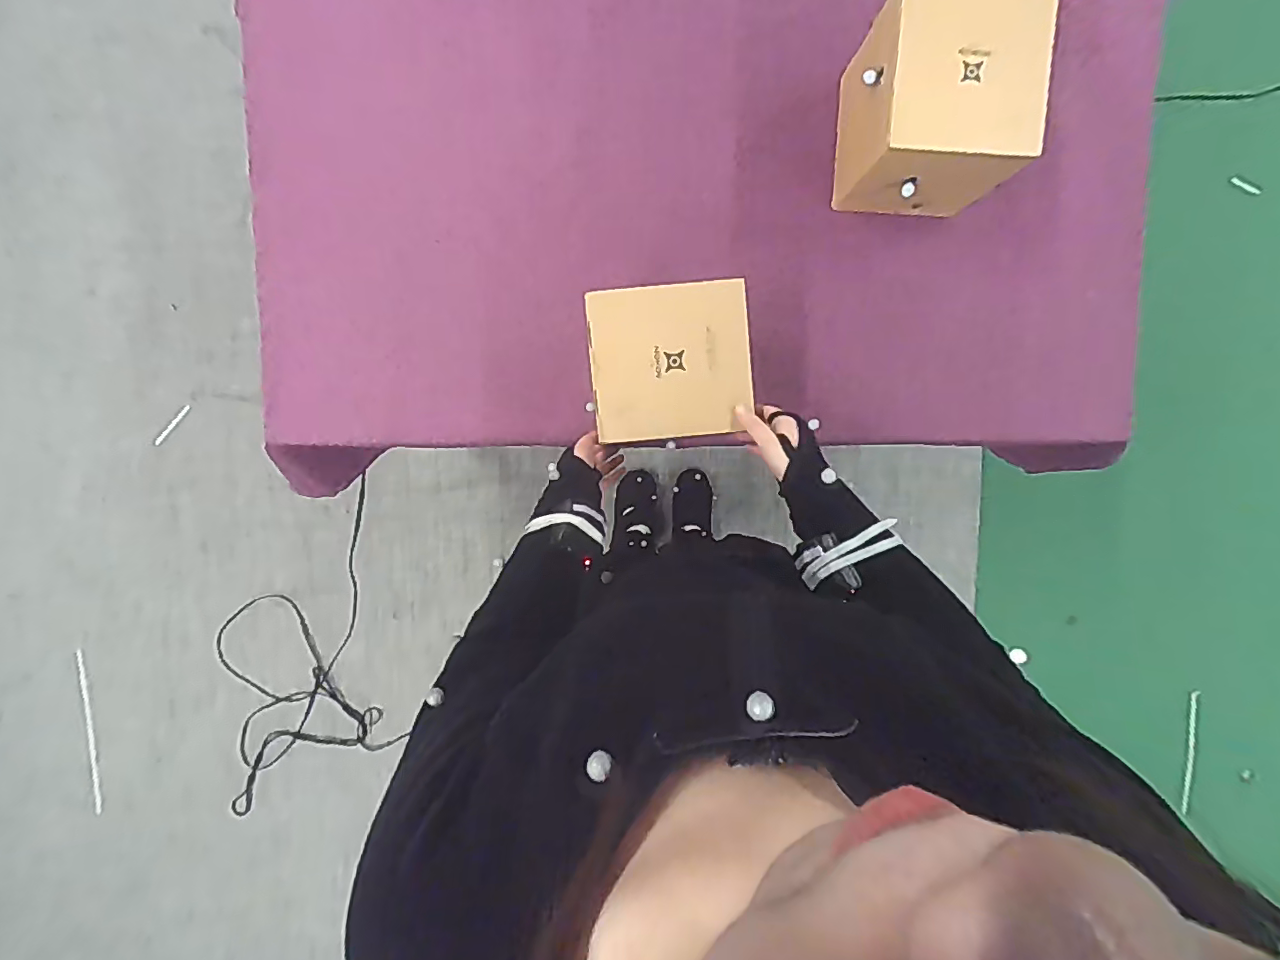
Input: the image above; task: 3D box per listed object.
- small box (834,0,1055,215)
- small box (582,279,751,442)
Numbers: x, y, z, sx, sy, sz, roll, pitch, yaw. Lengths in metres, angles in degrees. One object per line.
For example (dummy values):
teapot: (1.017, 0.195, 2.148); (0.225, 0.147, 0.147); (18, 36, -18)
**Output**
small box: (0.343, -0.438, 0.645); (0.168, 0.176, 0.179); (3, 94, 0)
small box: (0.029, -0.135, 0.666); (0.179, 0.176, 0.168); (-5, 94, -1)
